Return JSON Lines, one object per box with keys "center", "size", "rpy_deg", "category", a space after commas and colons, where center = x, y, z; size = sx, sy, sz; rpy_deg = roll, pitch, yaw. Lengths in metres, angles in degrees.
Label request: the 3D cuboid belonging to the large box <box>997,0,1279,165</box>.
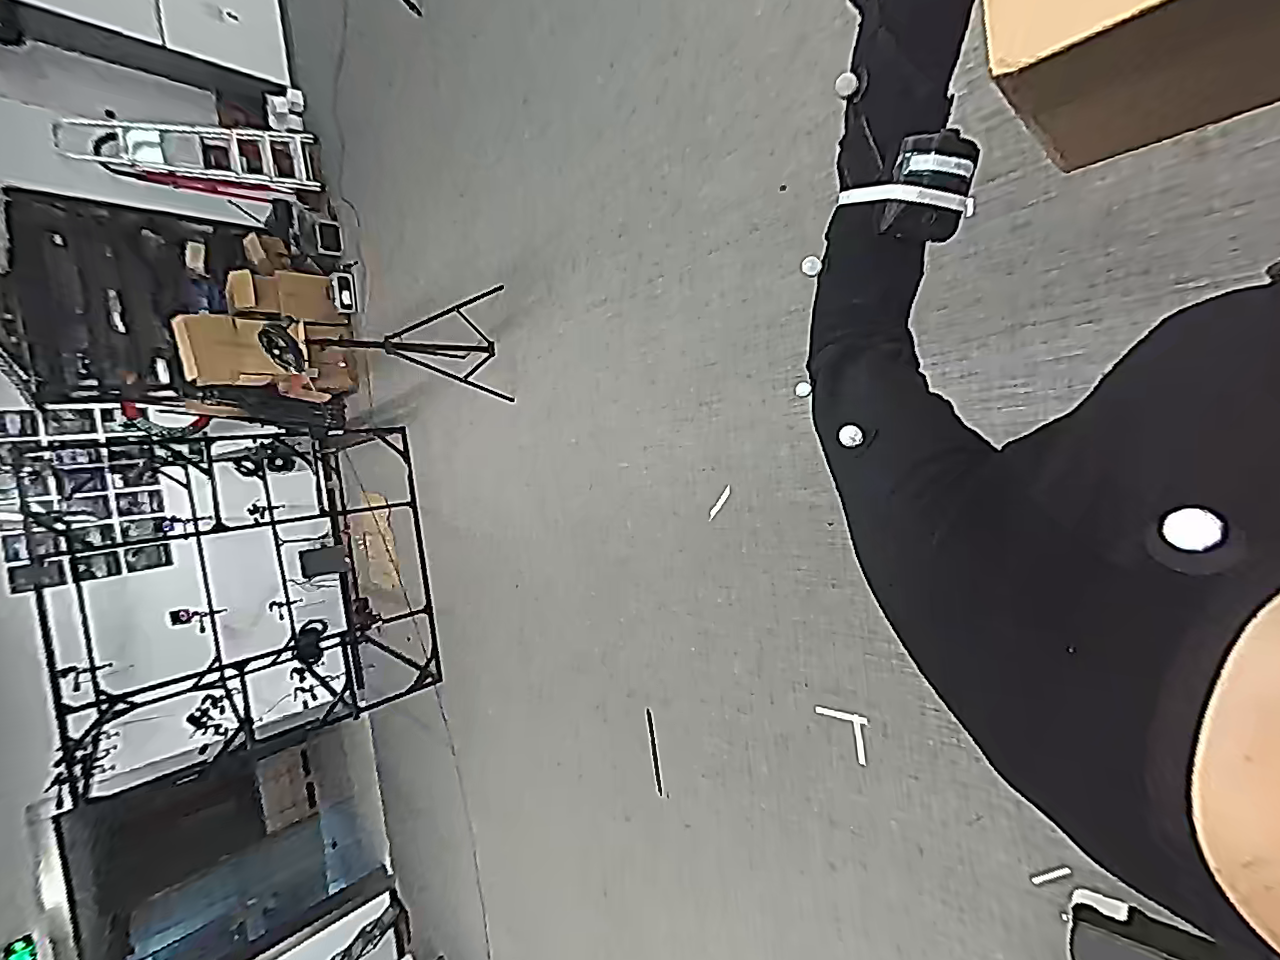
{"center": [0.455, -0.456, 0.307], "size": [0.408, 0.320, 0.320], "rpy_deg": [-4, 99, 45], "category": "large box"}
